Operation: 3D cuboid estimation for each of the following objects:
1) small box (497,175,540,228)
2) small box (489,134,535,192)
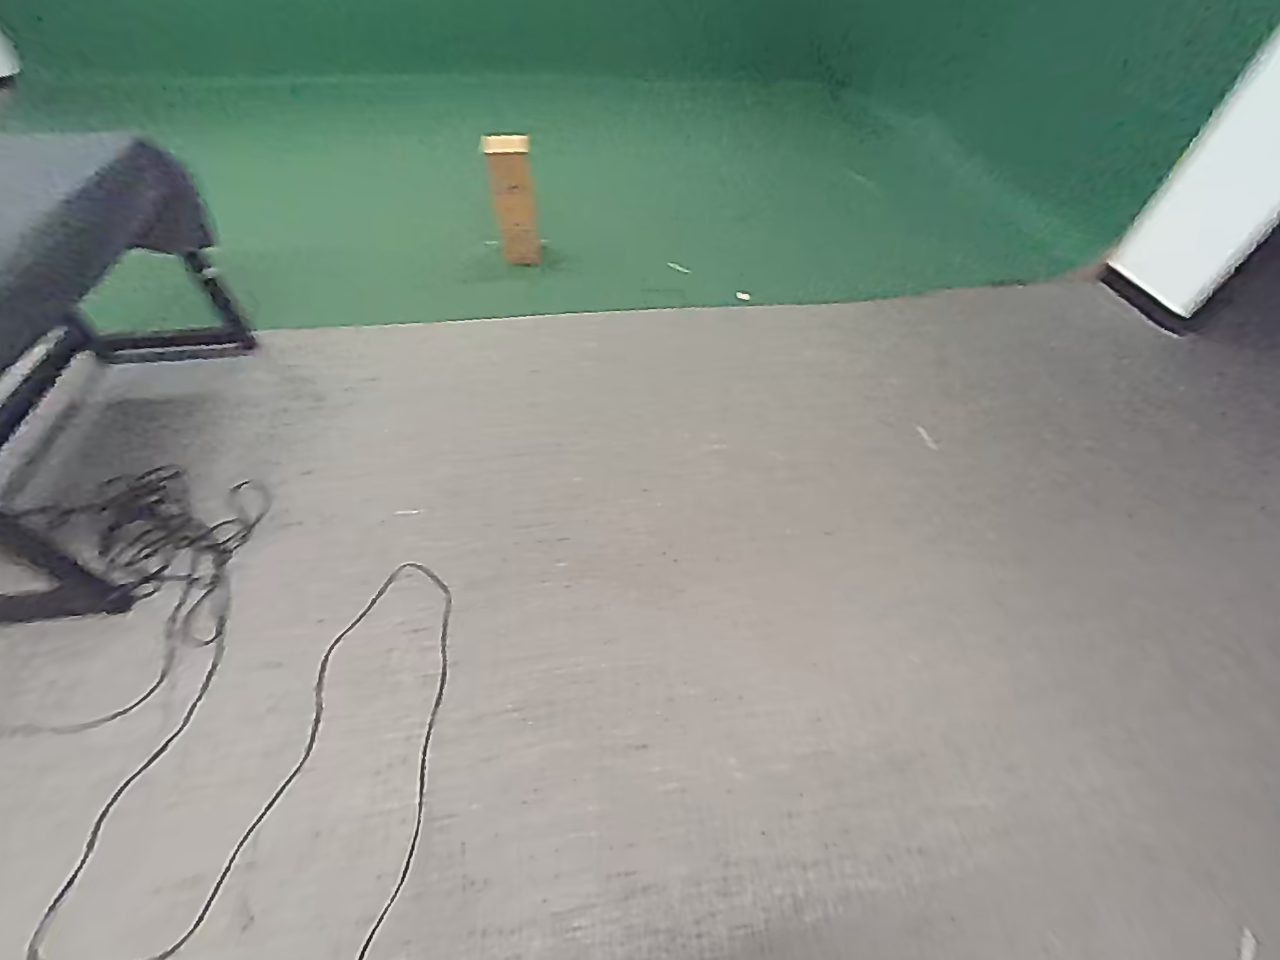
[{"bbox_3d":[-0.544,-1.257,2.444,0.168,0.176,0.179,-4,51,-5],"label":"small box"},{"bbox_3d":[-0.543,-1.354,2.313,0.168,0.176,0.179,-6,52,-5],"label":"small box"}]
